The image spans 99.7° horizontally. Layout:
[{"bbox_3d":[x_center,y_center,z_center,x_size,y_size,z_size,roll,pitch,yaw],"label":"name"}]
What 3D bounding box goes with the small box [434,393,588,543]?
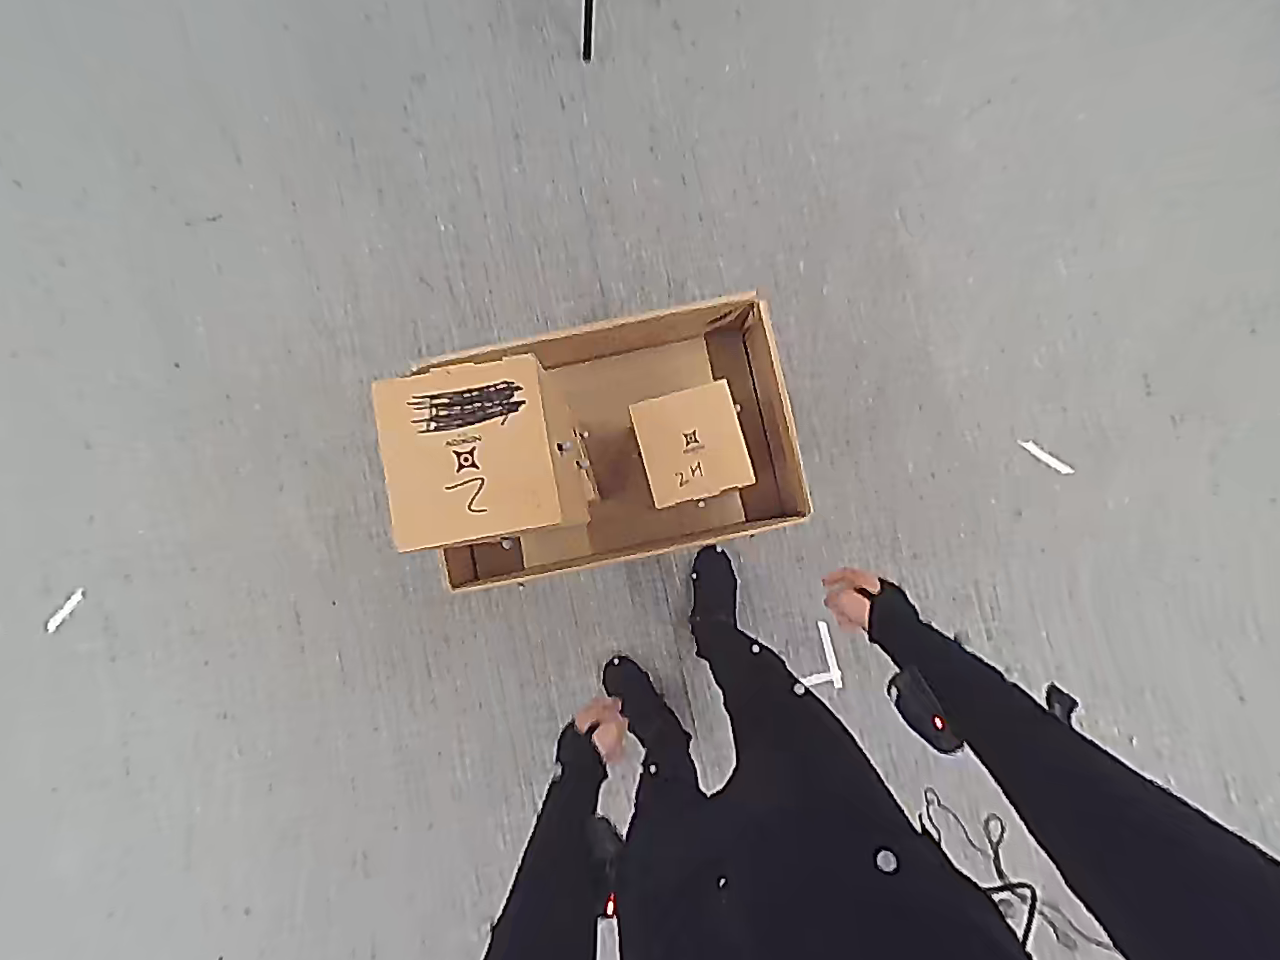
[{"bbox_3d":[-0.175,-0.007,0.778,0.168,0.176,0.179,-11,84,-1],"label":"small box"}]
